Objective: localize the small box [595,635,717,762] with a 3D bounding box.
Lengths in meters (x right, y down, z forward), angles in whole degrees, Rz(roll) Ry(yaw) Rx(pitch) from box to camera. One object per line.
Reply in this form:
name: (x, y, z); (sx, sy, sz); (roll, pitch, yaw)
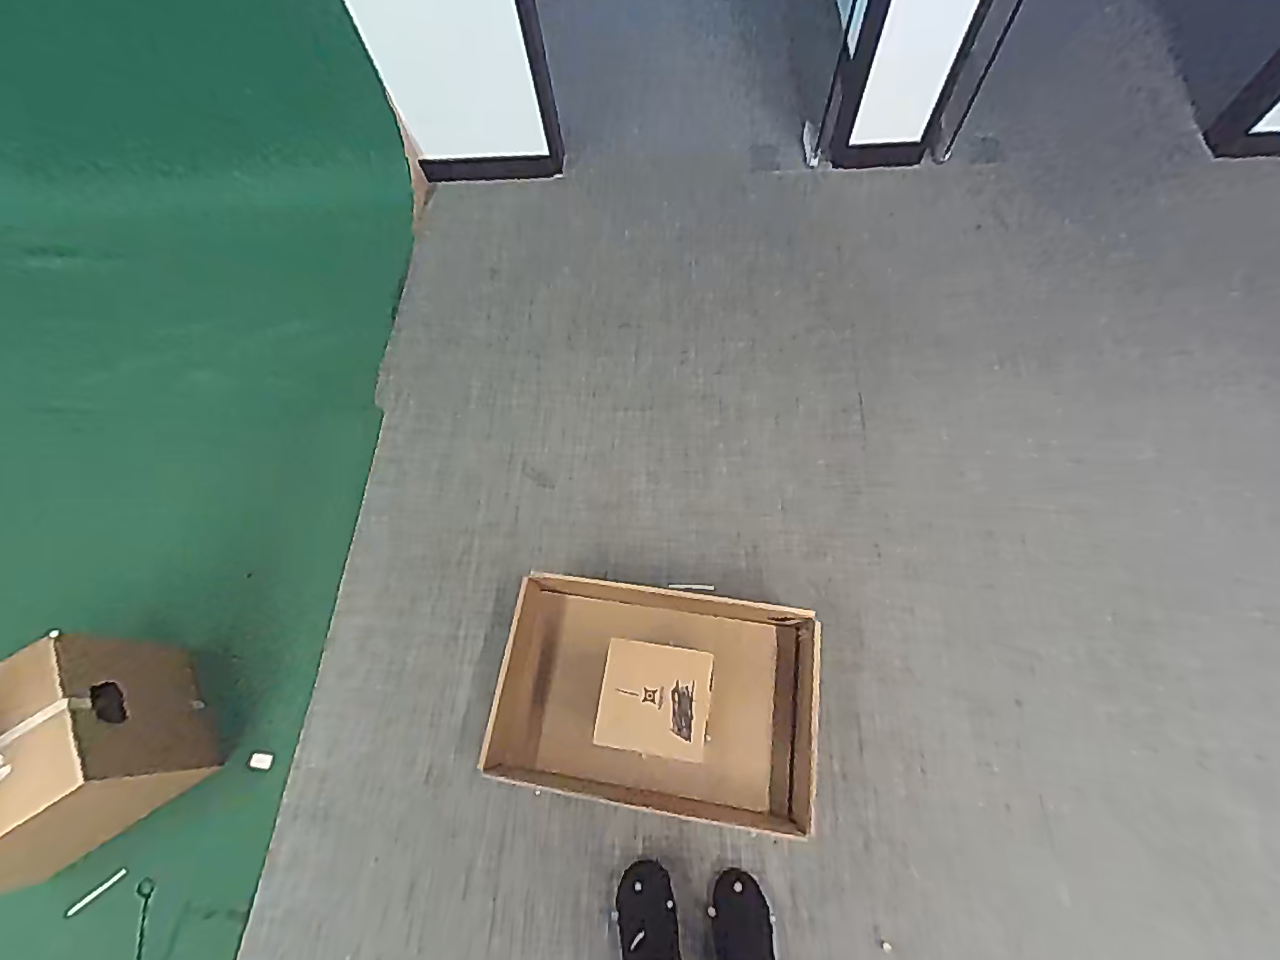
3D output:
small box: (0.035, 0.373, 0.933); (0.179, 0.176, 0.168); (7, 68, 9)
